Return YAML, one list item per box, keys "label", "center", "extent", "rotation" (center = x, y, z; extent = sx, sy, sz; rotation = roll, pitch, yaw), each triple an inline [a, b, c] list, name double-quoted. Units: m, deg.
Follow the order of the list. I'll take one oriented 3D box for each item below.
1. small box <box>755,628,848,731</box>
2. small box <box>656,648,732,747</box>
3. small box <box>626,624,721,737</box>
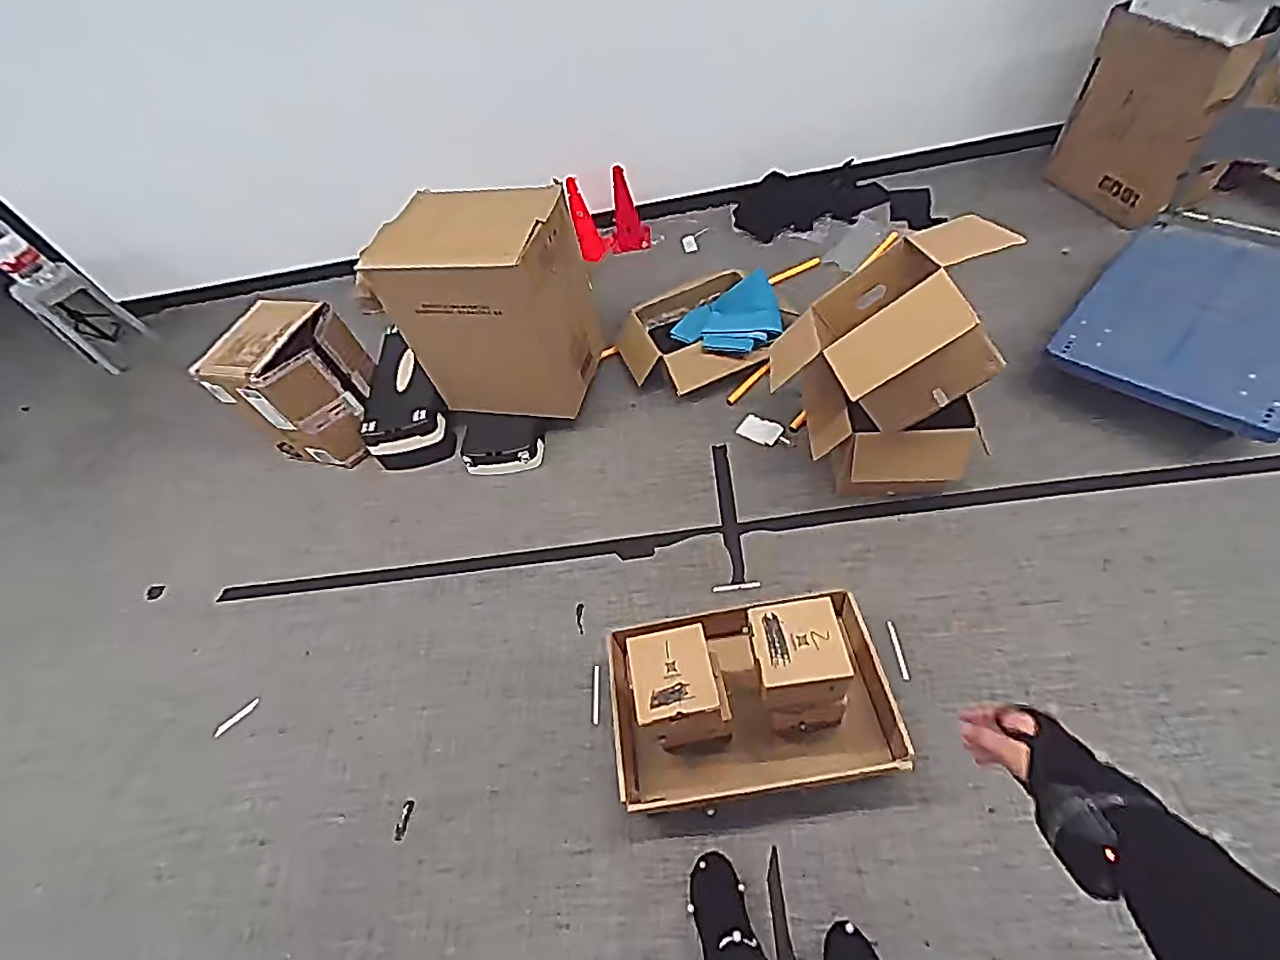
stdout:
- label: "small box"
  center: [0.370, 0.473, 1.275]
  extent: [0.168, 0.176, 0.179]
  rotation: [-12, 53, 5]
- label: "small box"
  center: [0.116, 0.522, 1.289]
  extent: [0.179, 0.176, 0.168]
  rotation: [-12, 52, 2]
- label: "small box"
  center: [0.074, 0.435, 1.155]
  extent: [0.168, 0.176, 0.179]
  rotation: [-12, 52, 1]
